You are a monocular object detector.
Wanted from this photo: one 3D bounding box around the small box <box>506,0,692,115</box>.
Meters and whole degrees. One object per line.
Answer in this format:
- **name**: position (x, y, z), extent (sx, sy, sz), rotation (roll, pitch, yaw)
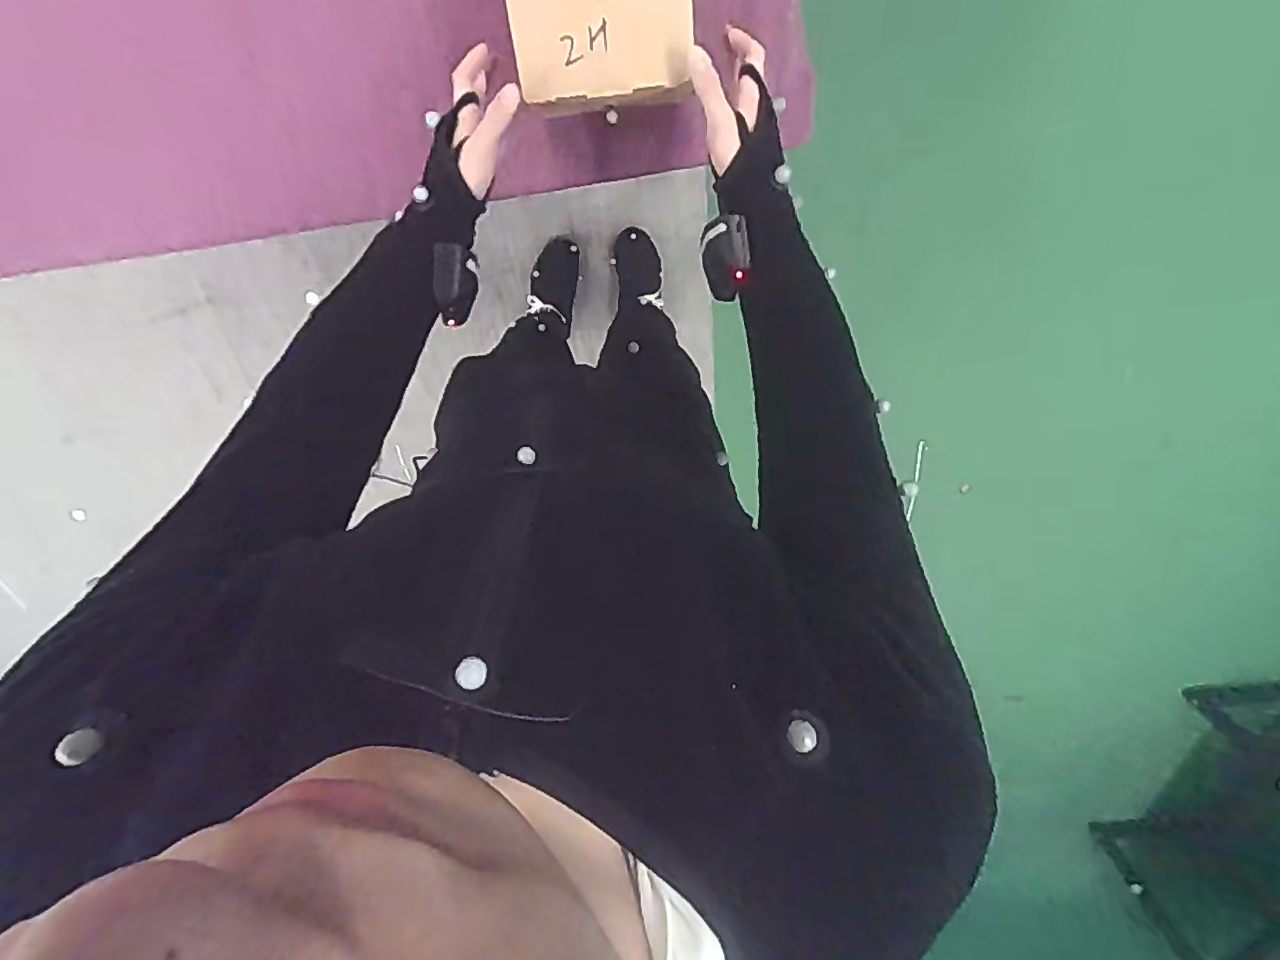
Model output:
- **small box**: position (-0.041, -0.480, 0.534), extent (0.168, 0.176, 0.179), rotation (-5, 121, 1)
